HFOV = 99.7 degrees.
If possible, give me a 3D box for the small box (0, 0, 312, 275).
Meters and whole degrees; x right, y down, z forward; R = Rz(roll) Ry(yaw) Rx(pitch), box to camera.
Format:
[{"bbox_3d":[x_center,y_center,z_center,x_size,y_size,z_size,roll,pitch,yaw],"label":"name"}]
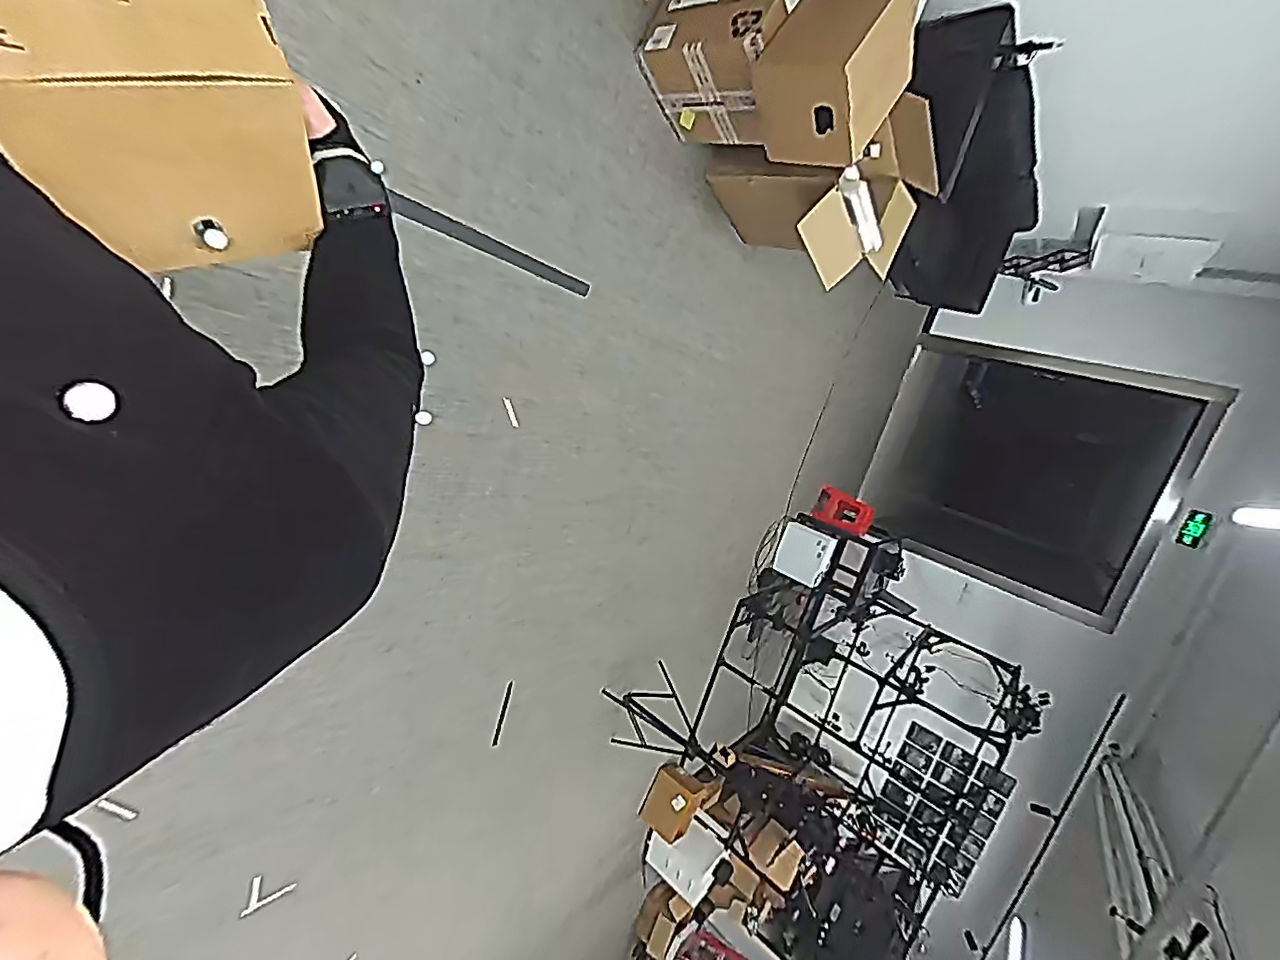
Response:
[{"bbox_3d":[-0.388,-0.295,0.435,0.179,0.168,0.176,-25,171,-29],"label":"small box"}]
